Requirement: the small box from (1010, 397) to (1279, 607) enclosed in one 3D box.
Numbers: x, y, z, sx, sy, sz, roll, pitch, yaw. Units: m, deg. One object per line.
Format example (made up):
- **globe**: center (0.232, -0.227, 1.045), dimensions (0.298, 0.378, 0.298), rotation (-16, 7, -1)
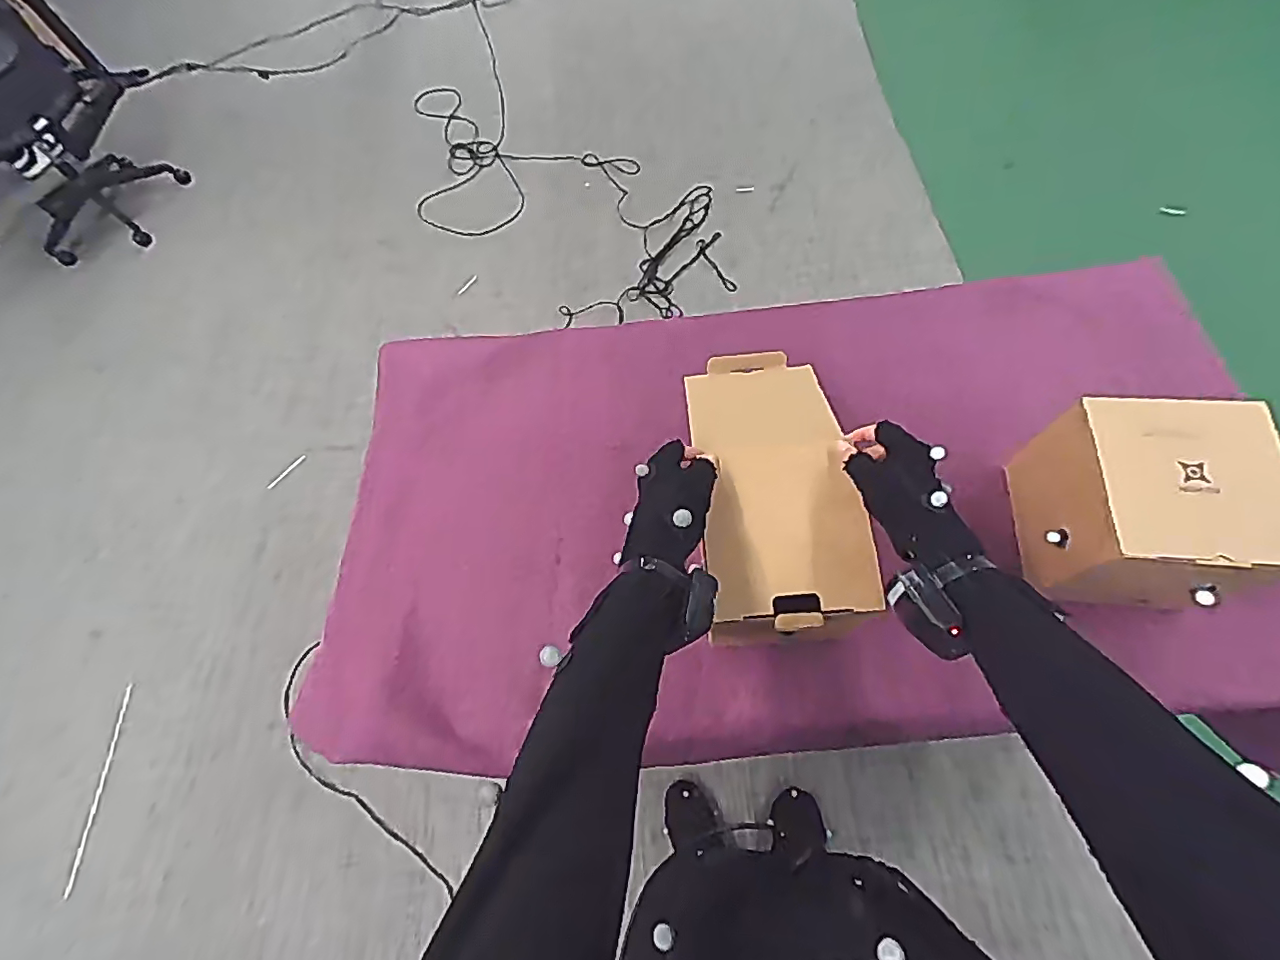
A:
- **small box**: center (0.536, 0.031, 0.584), dimensions (0.168, 0.176, 0.179), rotation (4, 65, 10)
